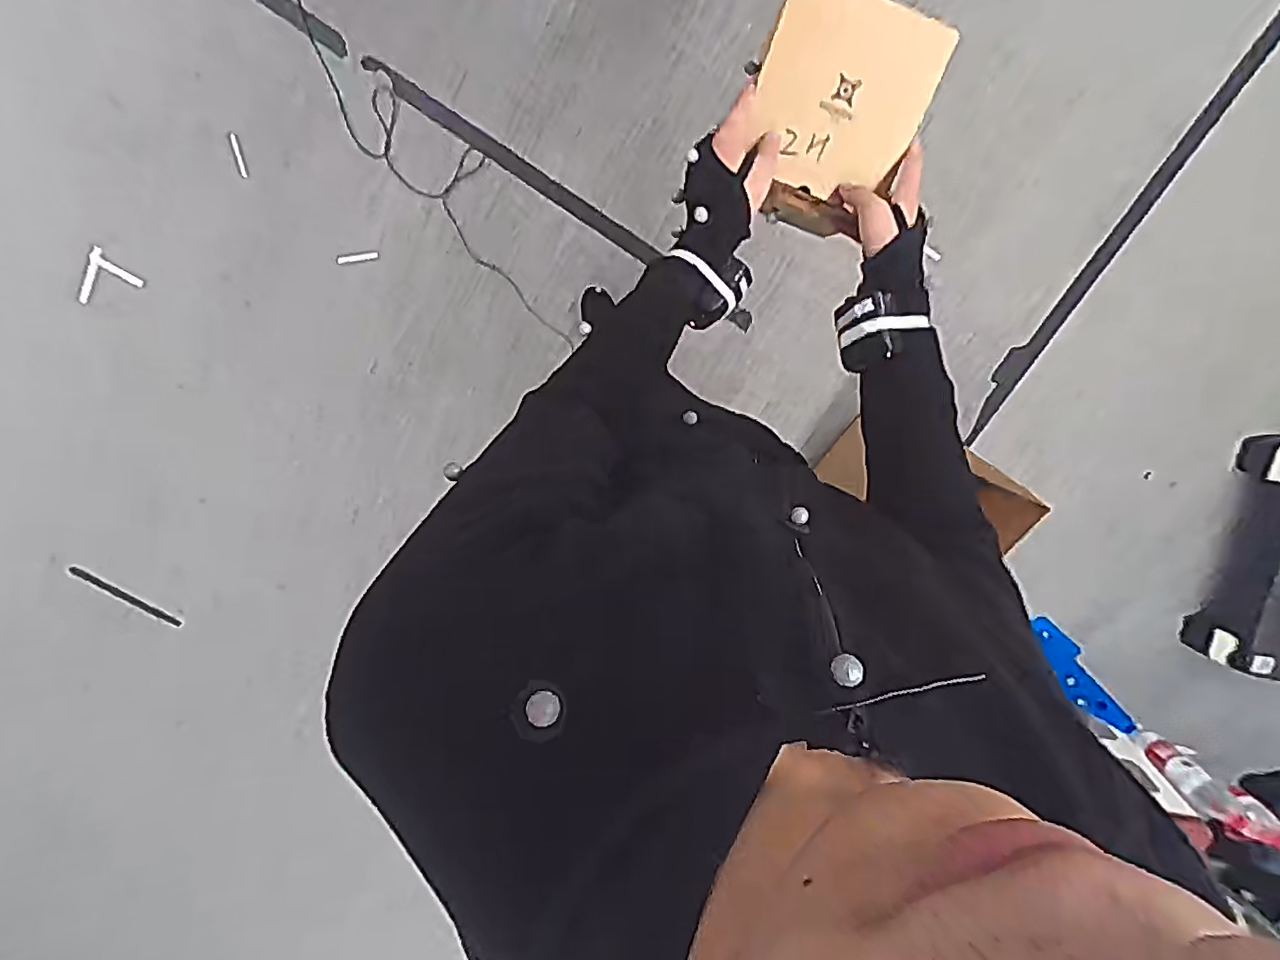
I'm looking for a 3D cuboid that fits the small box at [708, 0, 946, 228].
[{"bbox_3d":[0.182,-0.401,0.595,0.168,0.176,0.179,18,108,-5],"label":"small box"}]
